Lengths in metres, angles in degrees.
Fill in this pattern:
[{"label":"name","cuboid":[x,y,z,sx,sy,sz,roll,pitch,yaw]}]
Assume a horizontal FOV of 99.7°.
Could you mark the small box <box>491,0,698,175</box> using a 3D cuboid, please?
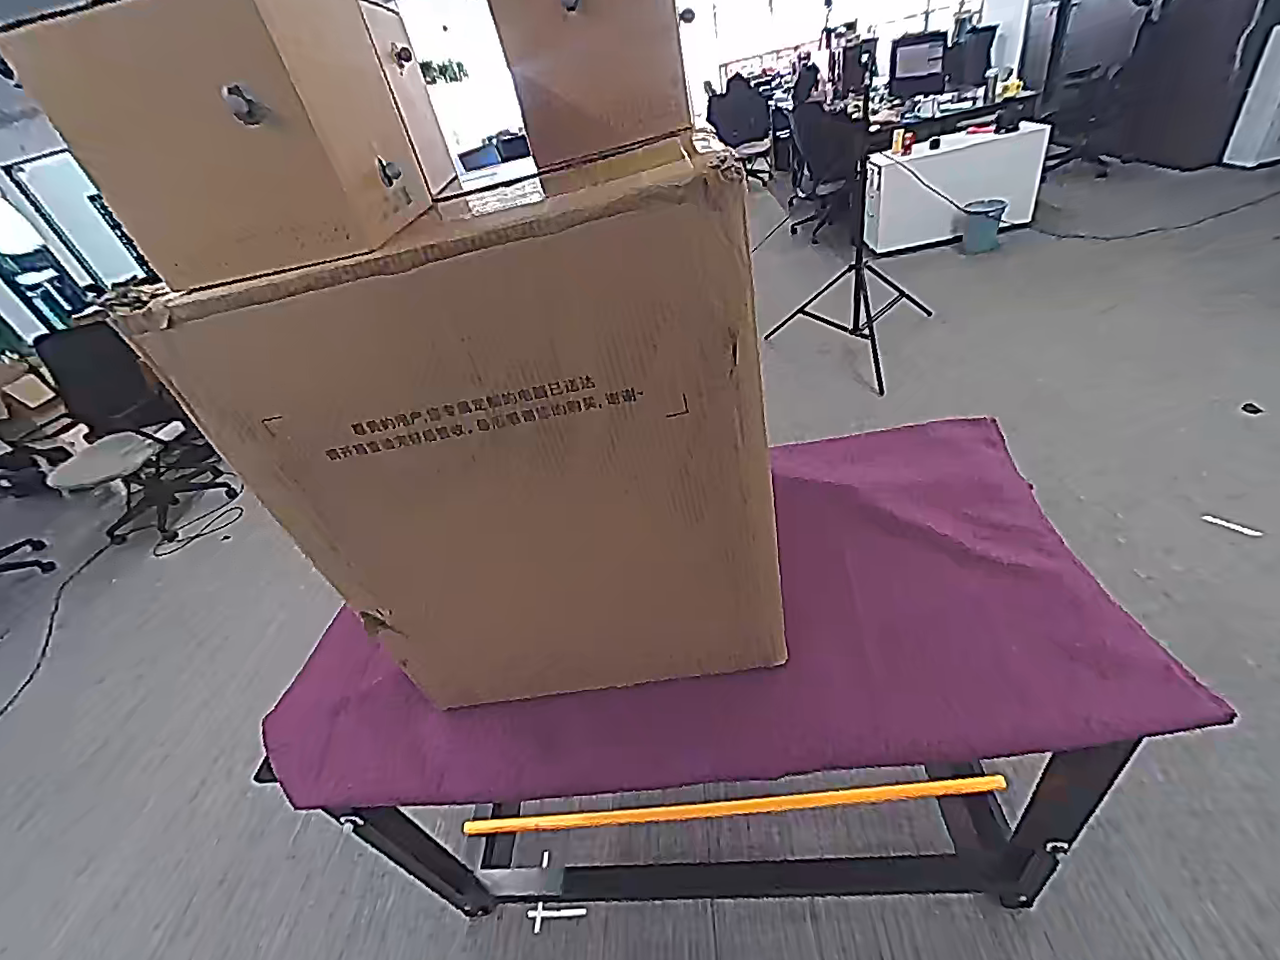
[{"label":"small box","cuboid":[-0.033,-0.454,0.585,0.179,0.176,0.168,-7,37,12]}]
